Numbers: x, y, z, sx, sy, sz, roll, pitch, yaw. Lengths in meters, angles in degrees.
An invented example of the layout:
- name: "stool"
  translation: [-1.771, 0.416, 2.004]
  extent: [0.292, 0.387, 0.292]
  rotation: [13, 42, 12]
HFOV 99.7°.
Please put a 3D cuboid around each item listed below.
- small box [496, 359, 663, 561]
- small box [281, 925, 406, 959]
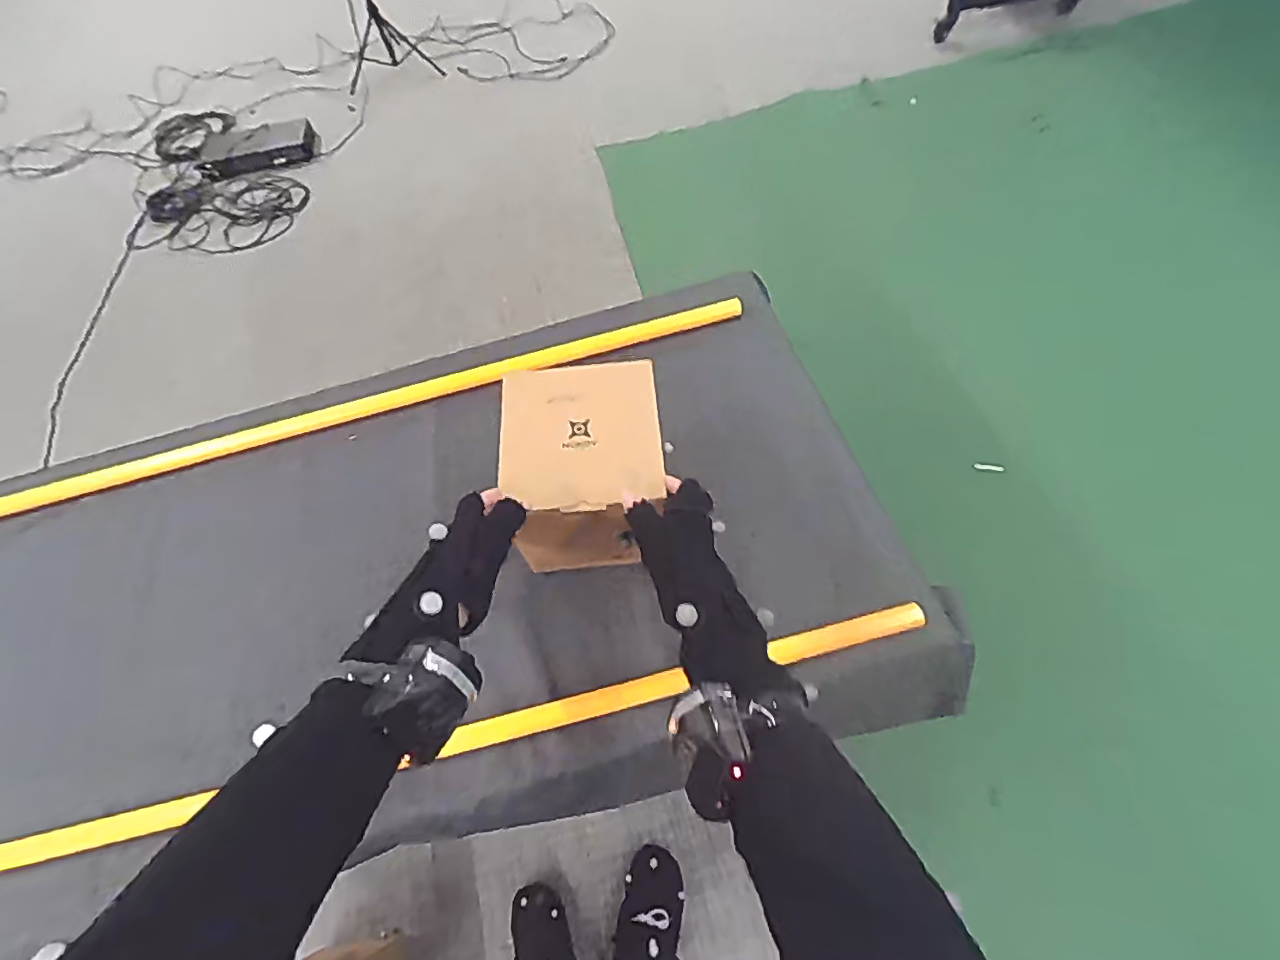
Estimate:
- name: "small box"
  translation: [-0.061, -0.013, 0.626]
  extent: [0.168, 0.176, 0.179]
  rotation: [-5, 61, -2]
- name: "small box"
  translation: [-0.554, 0.963, 1.007]
  extent: [0.168, 0.176, 0.179]
  rotation: [-9, 64, 1]
